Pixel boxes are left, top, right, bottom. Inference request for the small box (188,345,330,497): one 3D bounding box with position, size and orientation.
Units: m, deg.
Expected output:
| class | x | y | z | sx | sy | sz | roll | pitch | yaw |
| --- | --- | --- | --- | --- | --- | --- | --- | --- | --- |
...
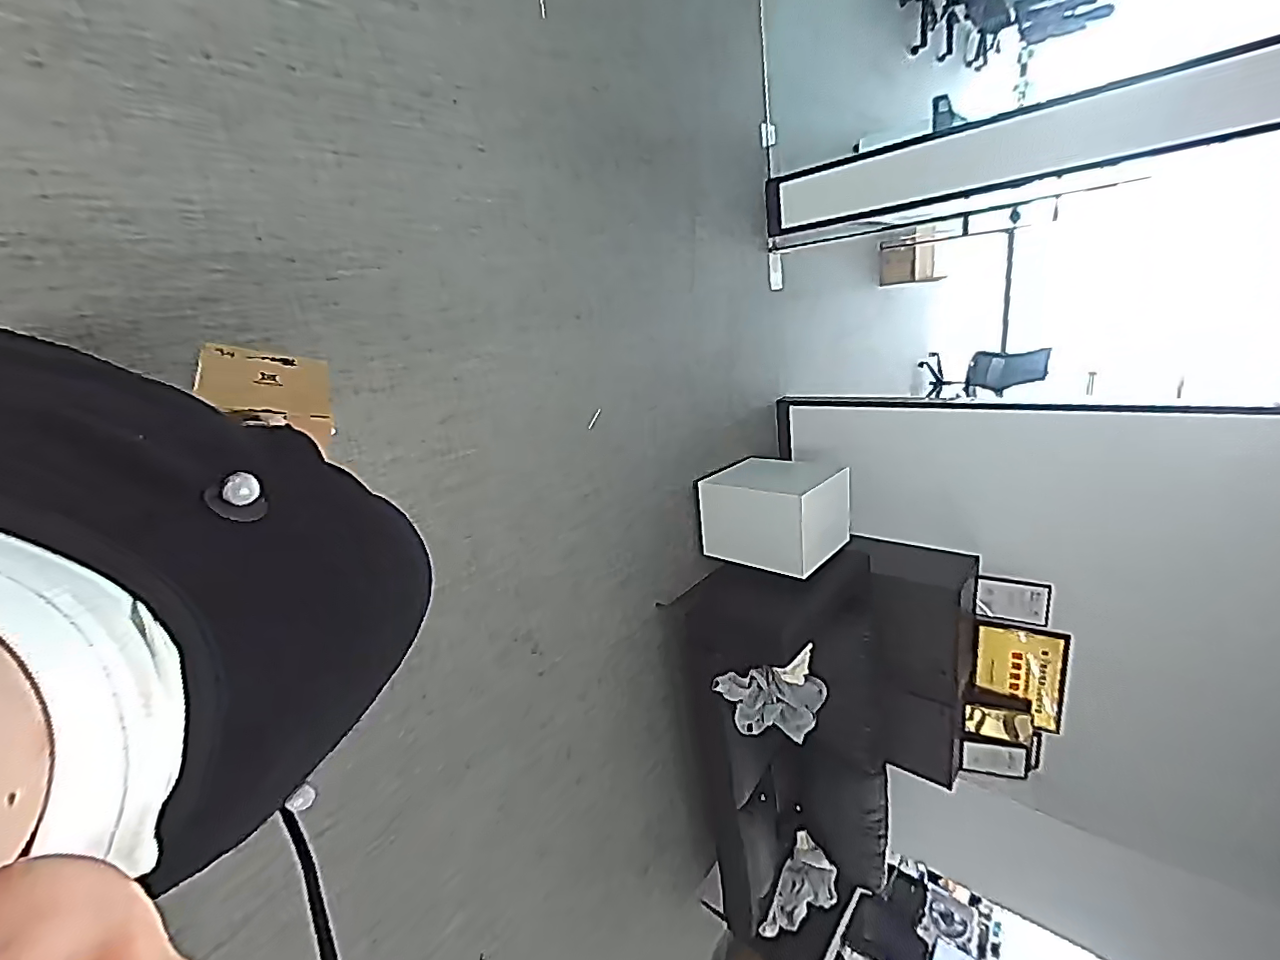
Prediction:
| class | x | y | z | sx | sy | sz | roll | pitch | yaw |
| --- | --- | --- | --- | --- | --- | --- | --- | --- | --- |
| small box | -0.591 | -0.085 | 0.845 | 0.168 | 0.179 | 0.176 | 0 | 129 | -38 |
